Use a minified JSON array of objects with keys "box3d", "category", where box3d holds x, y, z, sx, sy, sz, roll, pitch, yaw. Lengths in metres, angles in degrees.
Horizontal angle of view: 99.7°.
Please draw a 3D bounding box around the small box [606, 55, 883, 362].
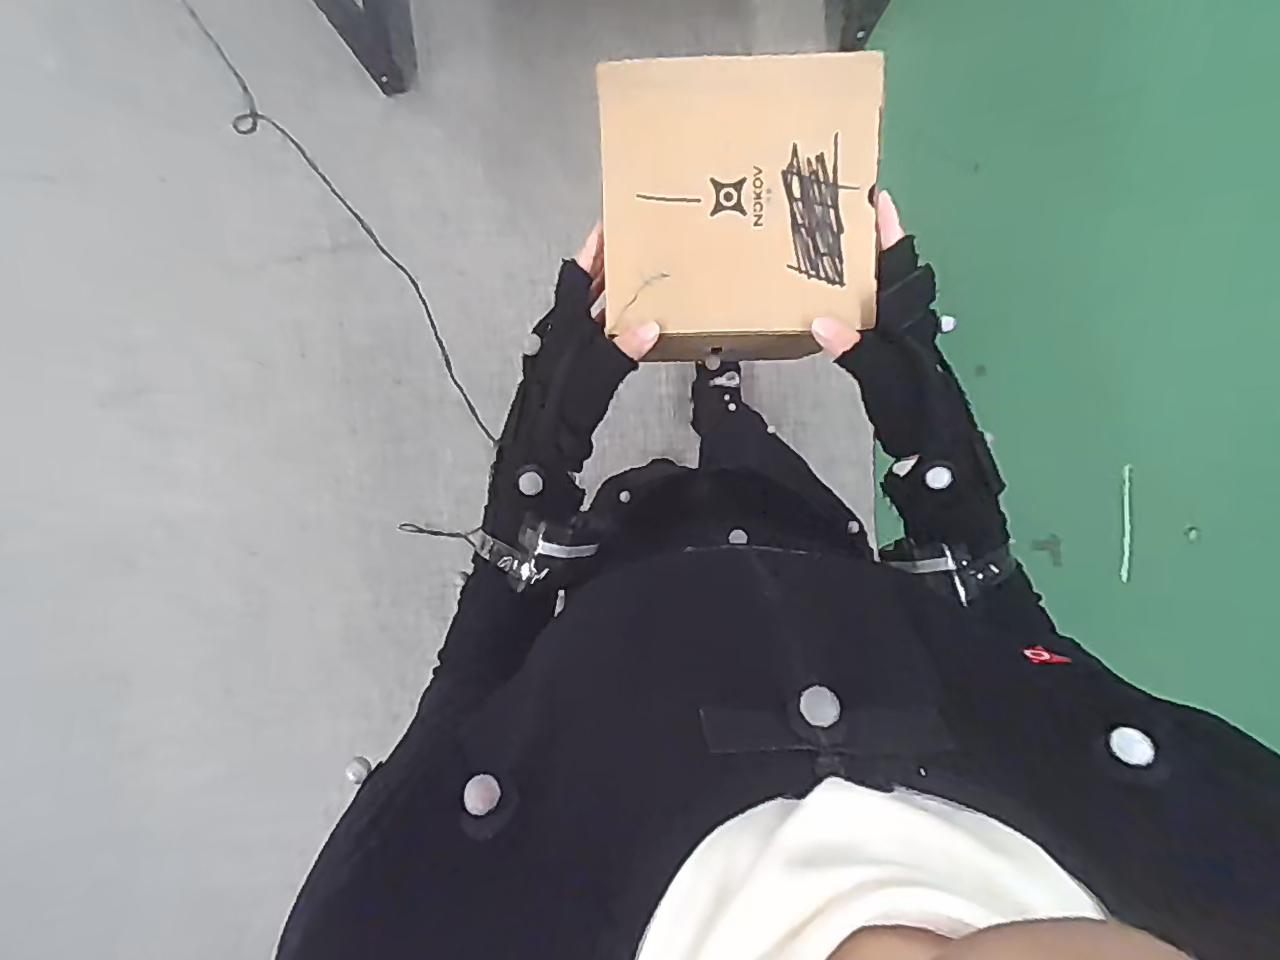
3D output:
[{"box3d":[0.066,-0.189,0.426,0.179,0.176,0.168,-5,96,-1],"category":"small box"}]
